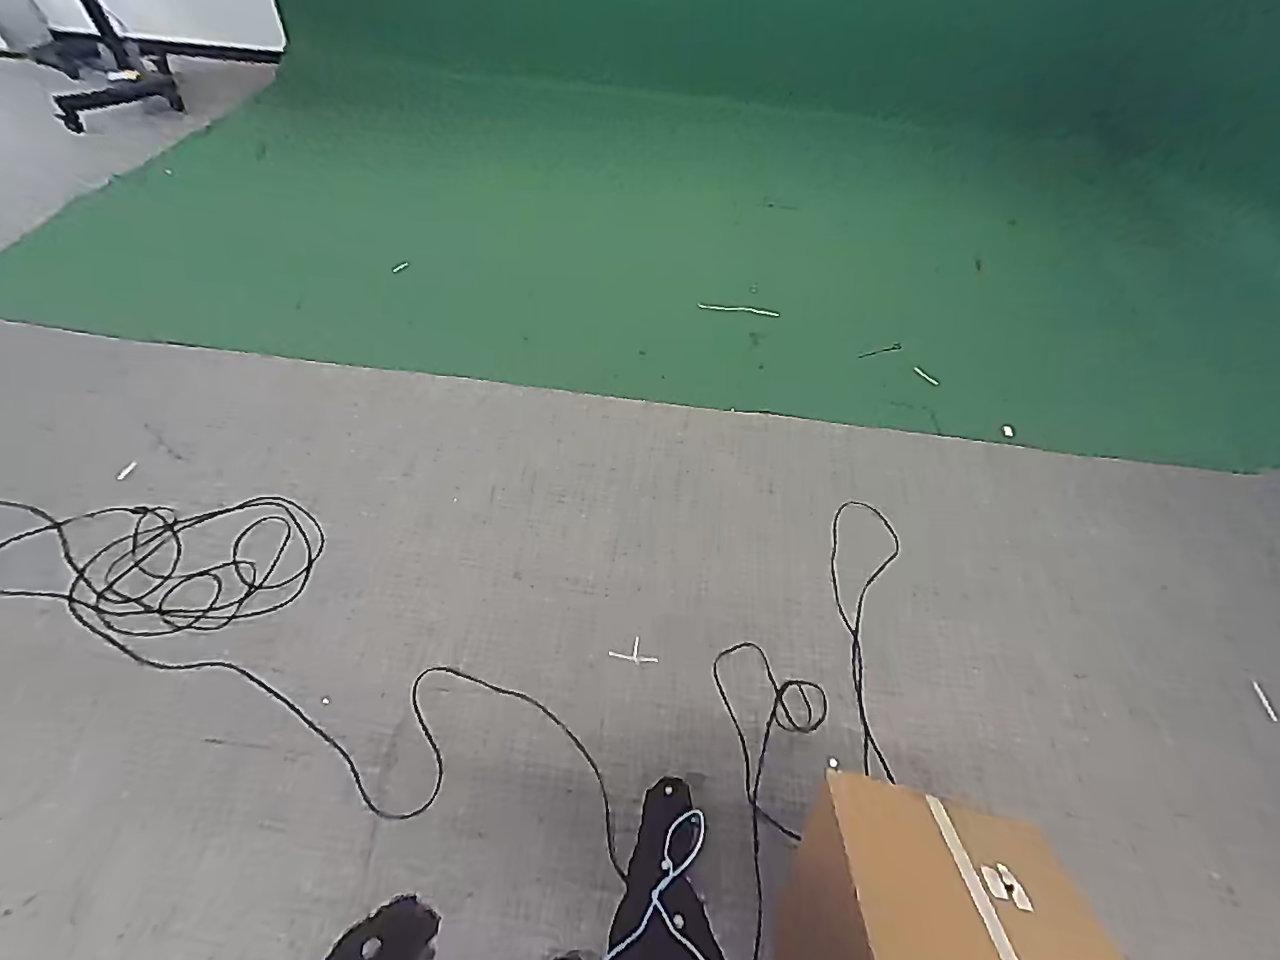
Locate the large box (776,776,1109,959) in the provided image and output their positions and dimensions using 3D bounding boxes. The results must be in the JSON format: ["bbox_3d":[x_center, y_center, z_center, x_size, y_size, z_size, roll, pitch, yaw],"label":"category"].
[{"bbox_3d":[0.375,0.677,0.670,0.320,0.320,0.408,15,13,6],"label":"large box"}]
